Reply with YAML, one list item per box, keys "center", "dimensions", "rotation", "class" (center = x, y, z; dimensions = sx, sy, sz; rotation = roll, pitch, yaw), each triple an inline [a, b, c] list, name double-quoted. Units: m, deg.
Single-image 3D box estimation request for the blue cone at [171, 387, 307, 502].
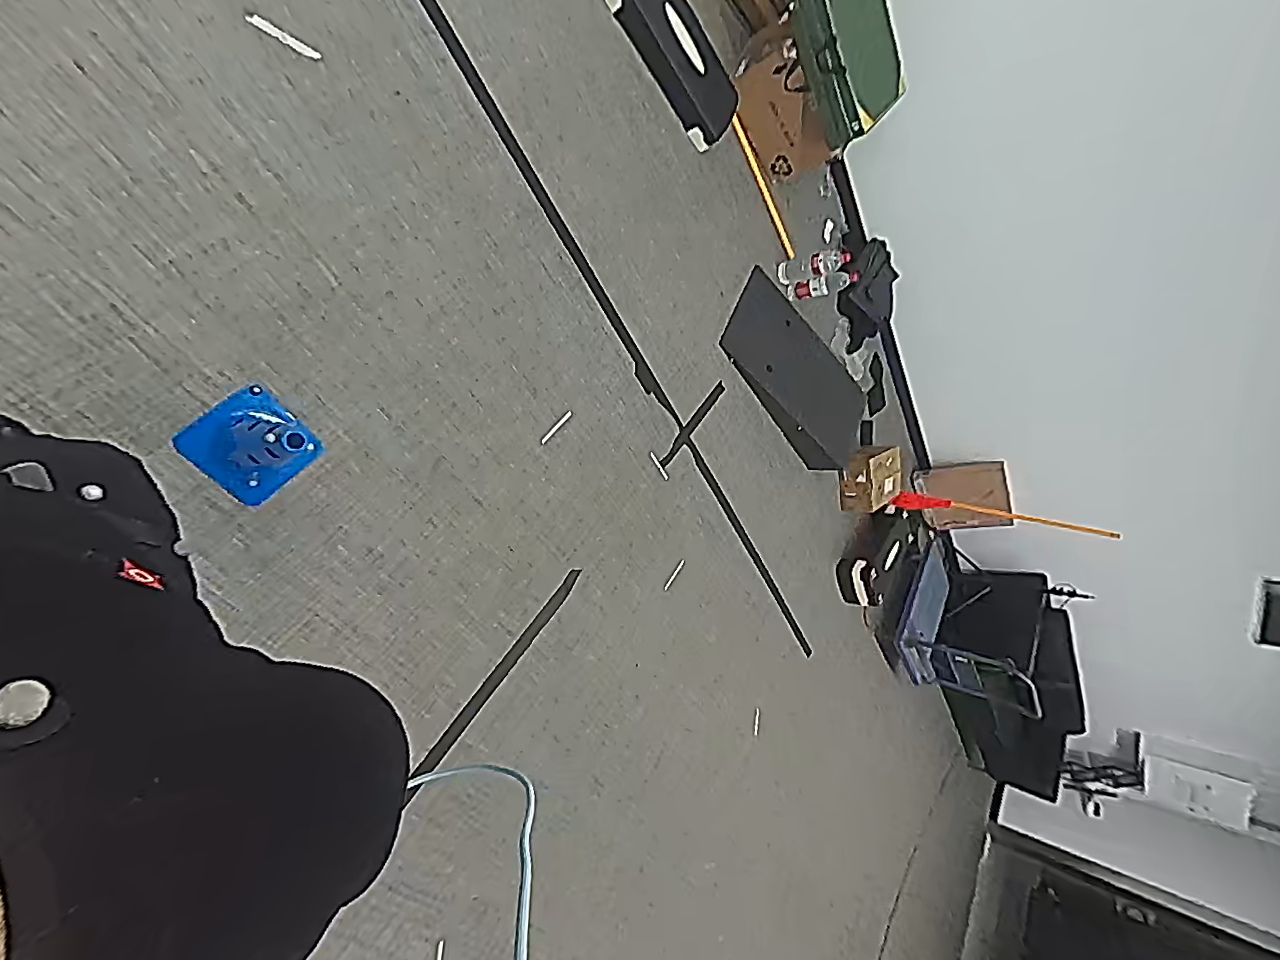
- center: [-0.711, -0.068, 1.012]
  dimensions: [0.193, 0.380, 0.192]
  rotation: [-52, 124, -31]
  class: "blue cone"
